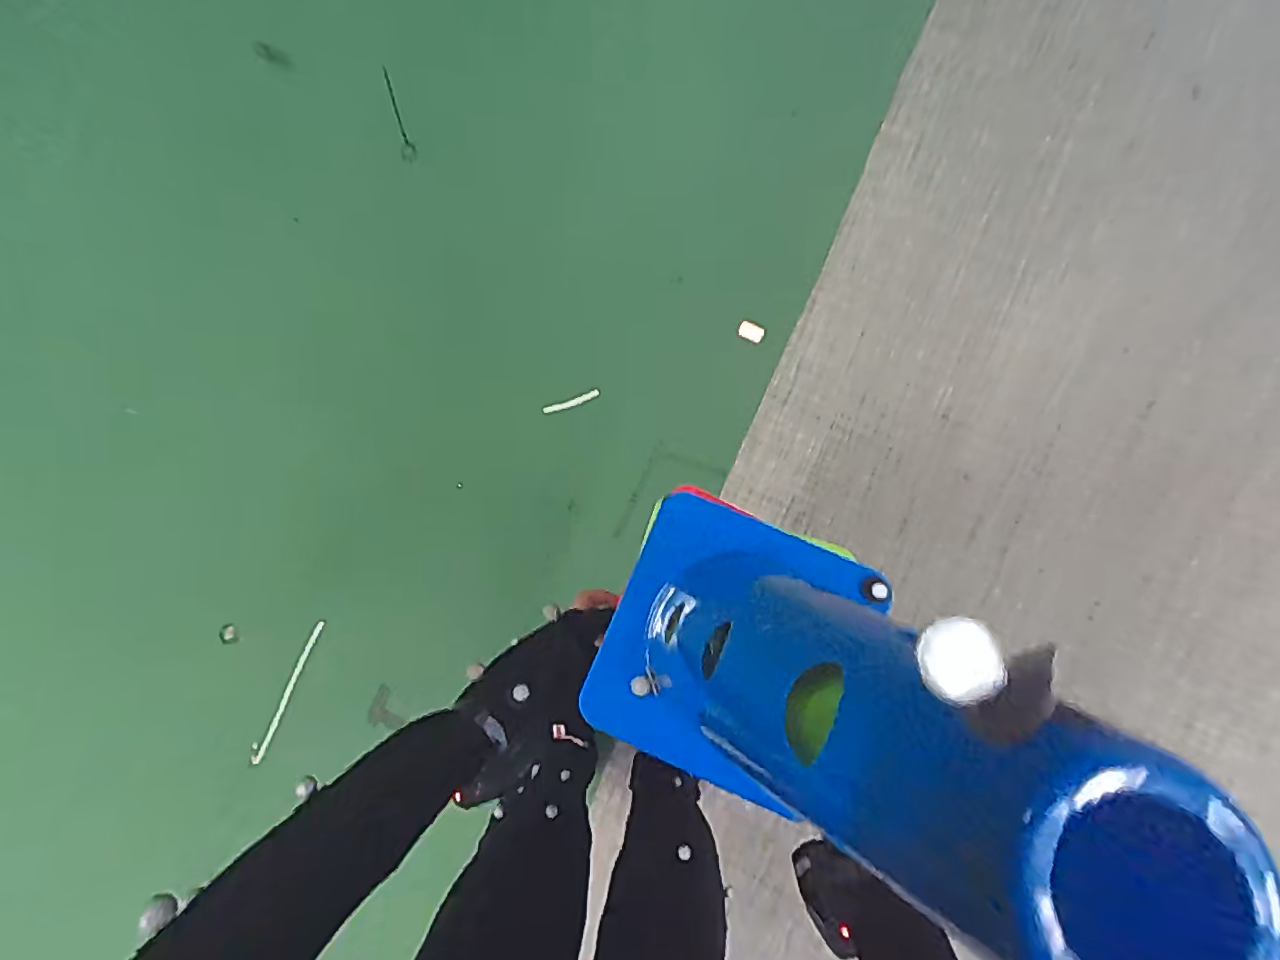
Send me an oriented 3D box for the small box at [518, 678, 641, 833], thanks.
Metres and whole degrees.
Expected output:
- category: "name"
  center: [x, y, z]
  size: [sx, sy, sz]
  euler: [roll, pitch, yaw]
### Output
- category: "small box"
  center: [-0.113, 0.487, 0.974]
  size: [0.168, 0.176, 0.179]
  euler: [18, 88, -12]
